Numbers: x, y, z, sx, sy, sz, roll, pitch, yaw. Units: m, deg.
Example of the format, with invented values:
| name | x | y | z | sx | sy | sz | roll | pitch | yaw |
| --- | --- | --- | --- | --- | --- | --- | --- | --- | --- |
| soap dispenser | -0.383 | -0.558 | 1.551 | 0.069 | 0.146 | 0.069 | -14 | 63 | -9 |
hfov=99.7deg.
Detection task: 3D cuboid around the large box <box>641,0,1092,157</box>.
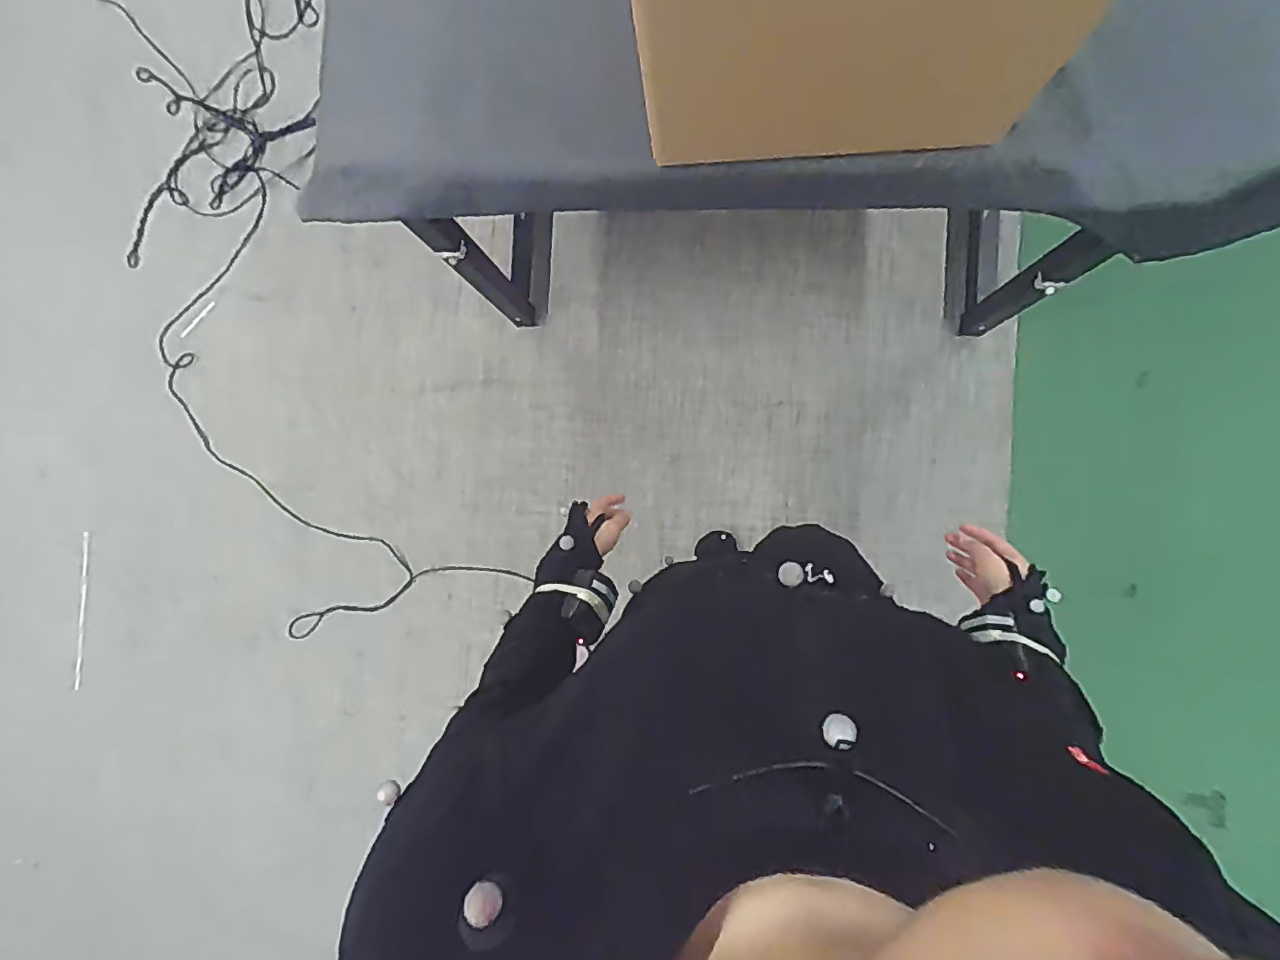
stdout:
| name | x | y | z | sx | sy | sz | roll | pitch | yaw |
| --- | --- | --- | --- | --- | --- | --- | --- | --- | --- |
| large box | 0.199 | -0.561 | 0.514 | 0.408 | 0.320 | 0.320 | -1 | 87 | 5 |
